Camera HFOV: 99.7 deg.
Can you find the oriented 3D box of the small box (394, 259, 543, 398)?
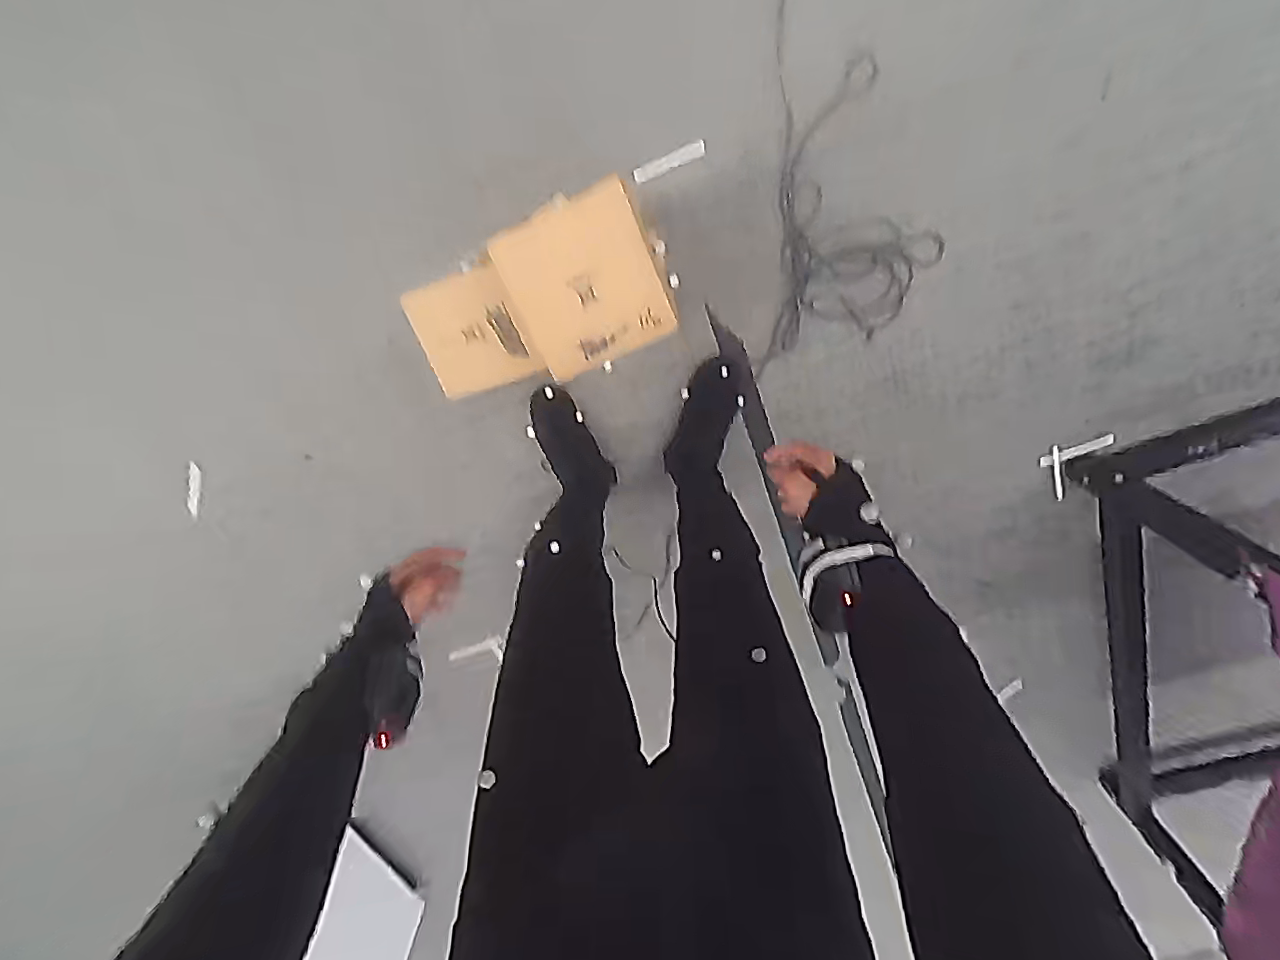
[{"bbox_3d":[-0.243,-0.255,0.860,0.179,0.176,0.168,-15,115,11],"label":"small box"}]

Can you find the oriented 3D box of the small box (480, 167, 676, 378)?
[{"bbox_3d":[-0.064,-0.253,0.669,0.168,0.176,0.179,-21,113,13],"label":"small box"}]
